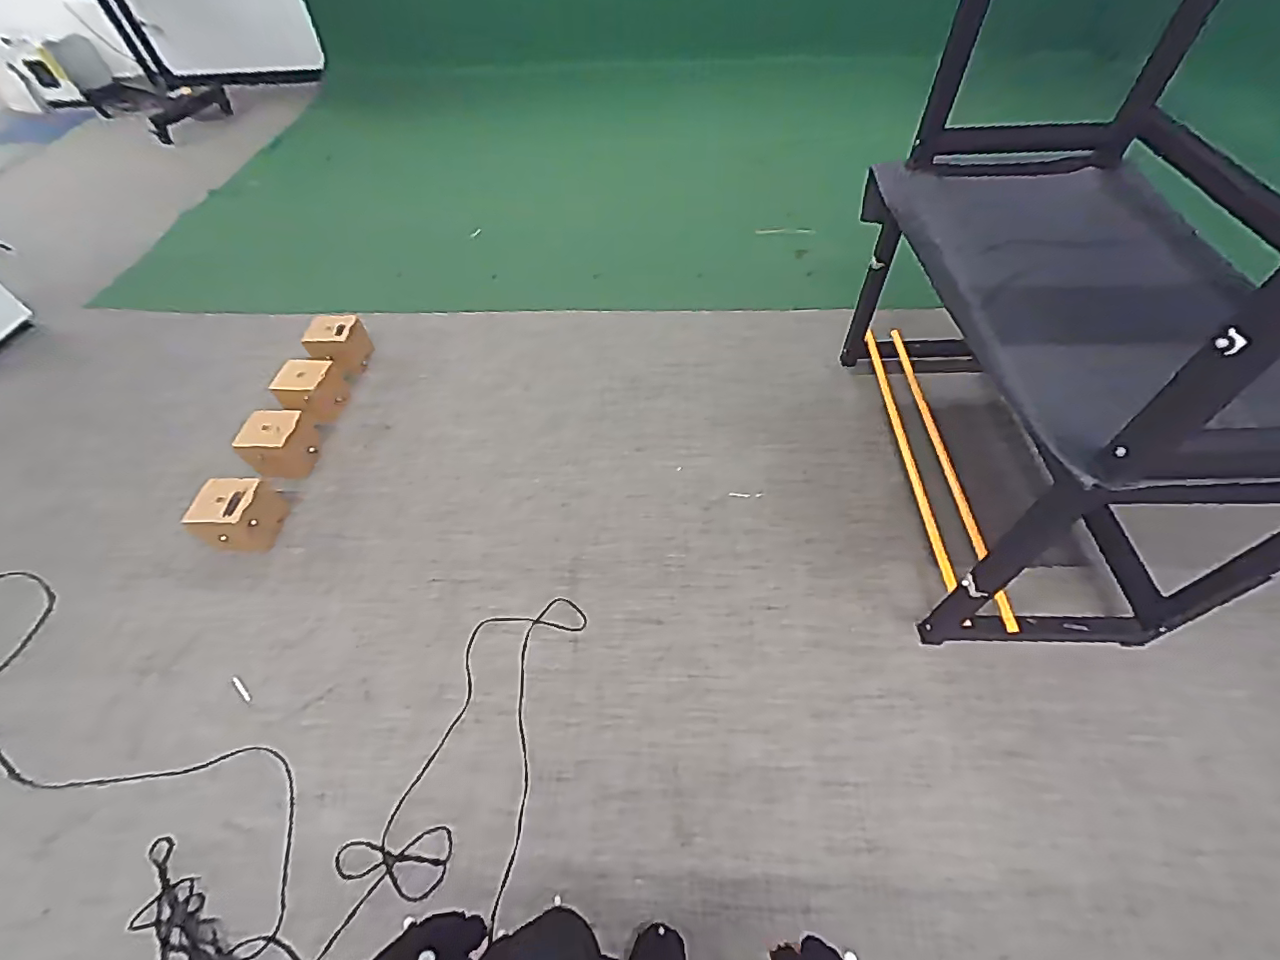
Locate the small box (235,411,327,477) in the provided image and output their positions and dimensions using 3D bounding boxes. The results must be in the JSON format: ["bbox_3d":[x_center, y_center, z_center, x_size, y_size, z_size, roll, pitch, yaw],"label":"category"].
[{"bbox_3d":[-1.243,-0.124,1.885,0.179,0.176,0.168,1,54,3],"label":"small box"}]

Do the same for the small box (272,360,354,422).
[{"bbox_3d":[-1.231,-0.335,2.051,0.179,0.176,0.168,2,52,4],"label":"small box"}]

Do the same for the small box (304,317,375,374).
[{"bbox_3d":[-1.219,-0.549,2.213,0.179,0.176,0.168,-1,52,3],"label":"small box"}]
